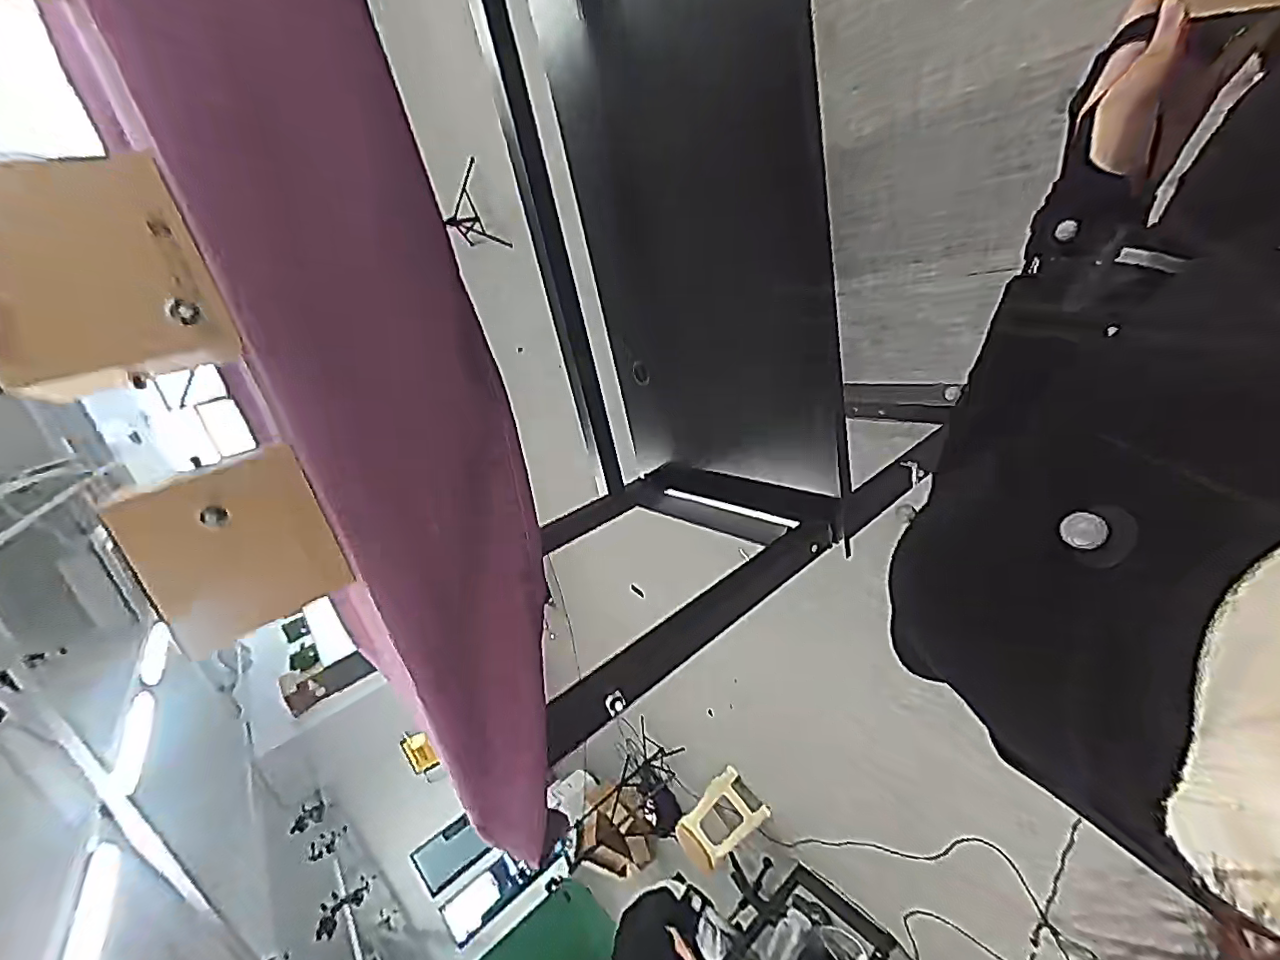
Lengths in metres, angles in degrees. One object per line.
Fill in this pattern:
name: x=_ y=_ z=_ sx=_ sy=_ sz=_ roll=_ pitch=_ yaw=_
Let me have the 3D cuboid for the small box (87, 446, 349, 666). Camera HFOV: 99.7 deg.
small box: x=-0.466 y=0.069 z=0.620 sx=0.168 sy=0.176 sz=0.179 roll=10 pitch=121 yaw=53

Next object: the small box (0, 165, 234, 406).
small box: x=-0.514 y=-0.175 z=0.509 sx=0.179 sy=0.176 sz=0.168 roll=8 pitch=119 yaw=54
